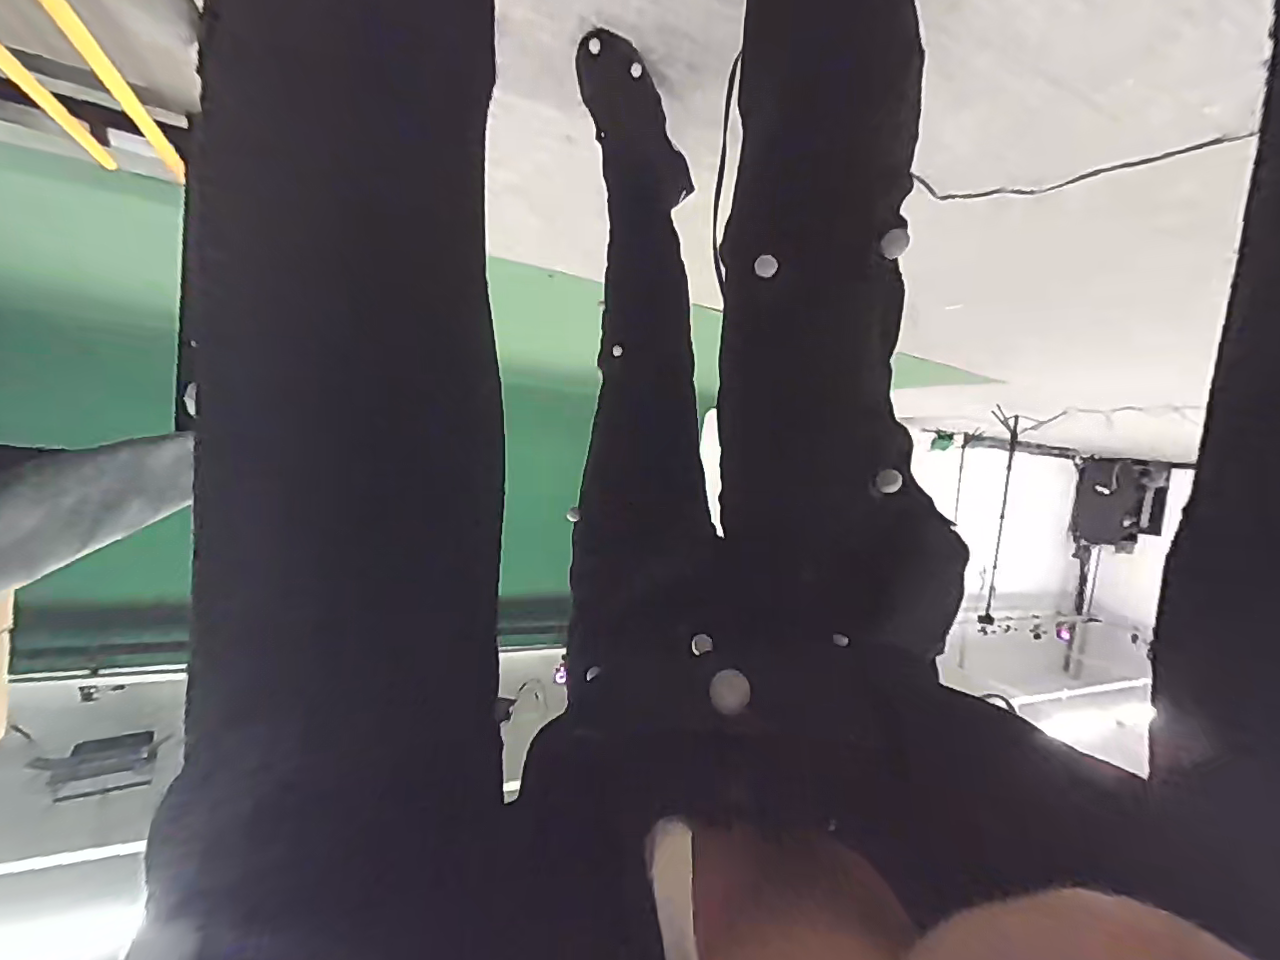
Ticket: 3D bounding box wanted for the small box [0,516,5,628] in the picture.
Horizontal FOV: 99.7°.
[{"bbox_3d":[-0.918,0.129,0.639,0.168,0.176,0.179,6,-176,-26],"label":"small box"}]
